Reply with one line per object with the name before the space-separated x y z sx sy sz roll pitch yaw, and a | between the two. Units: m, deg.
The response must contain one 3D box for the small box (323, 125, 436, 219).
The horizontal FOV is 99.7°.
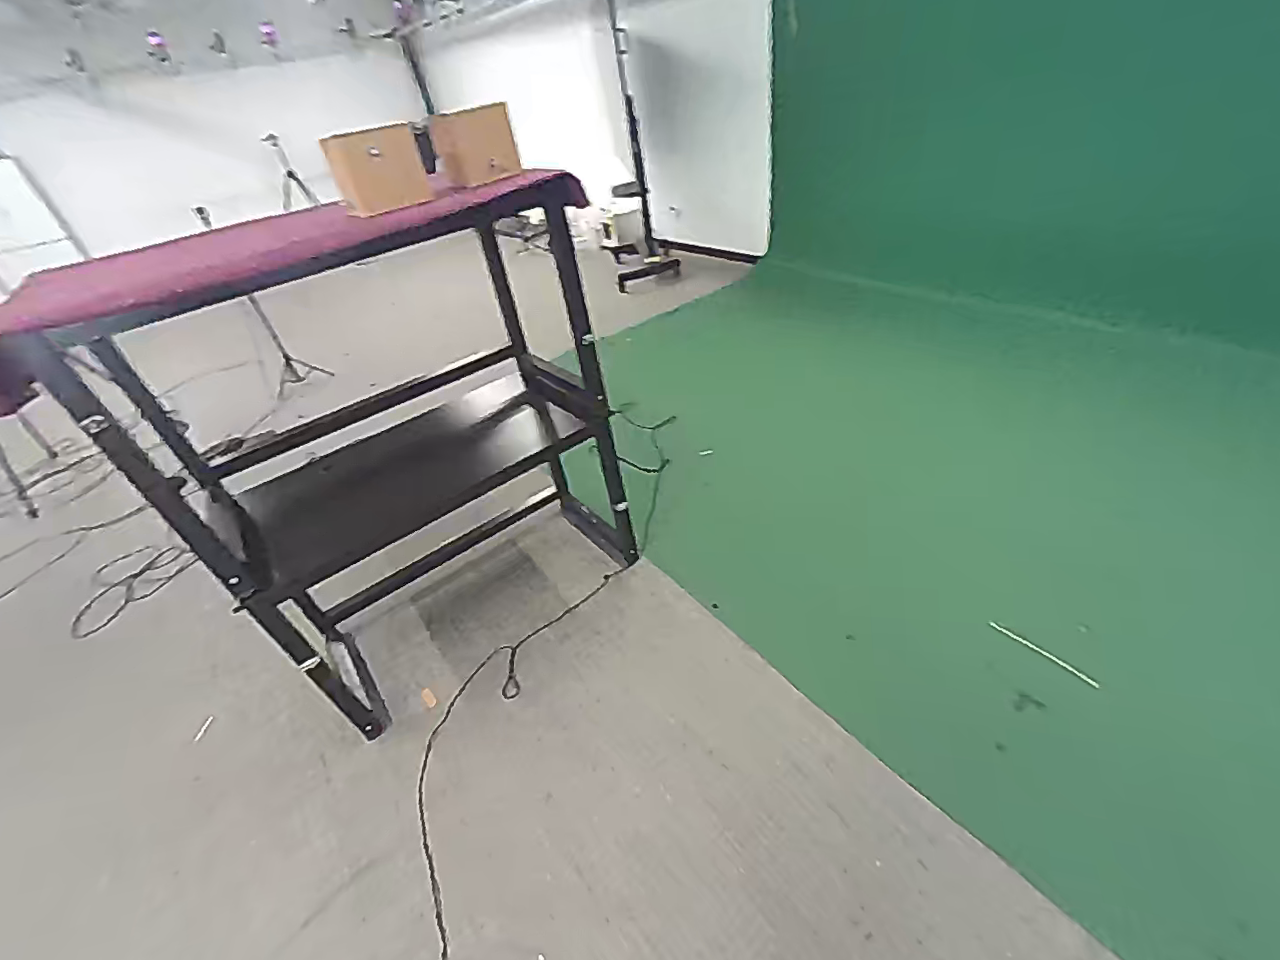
small box | -0.631 -0.748 1.319 0.179 0.176 0.168 -31 41 -25
